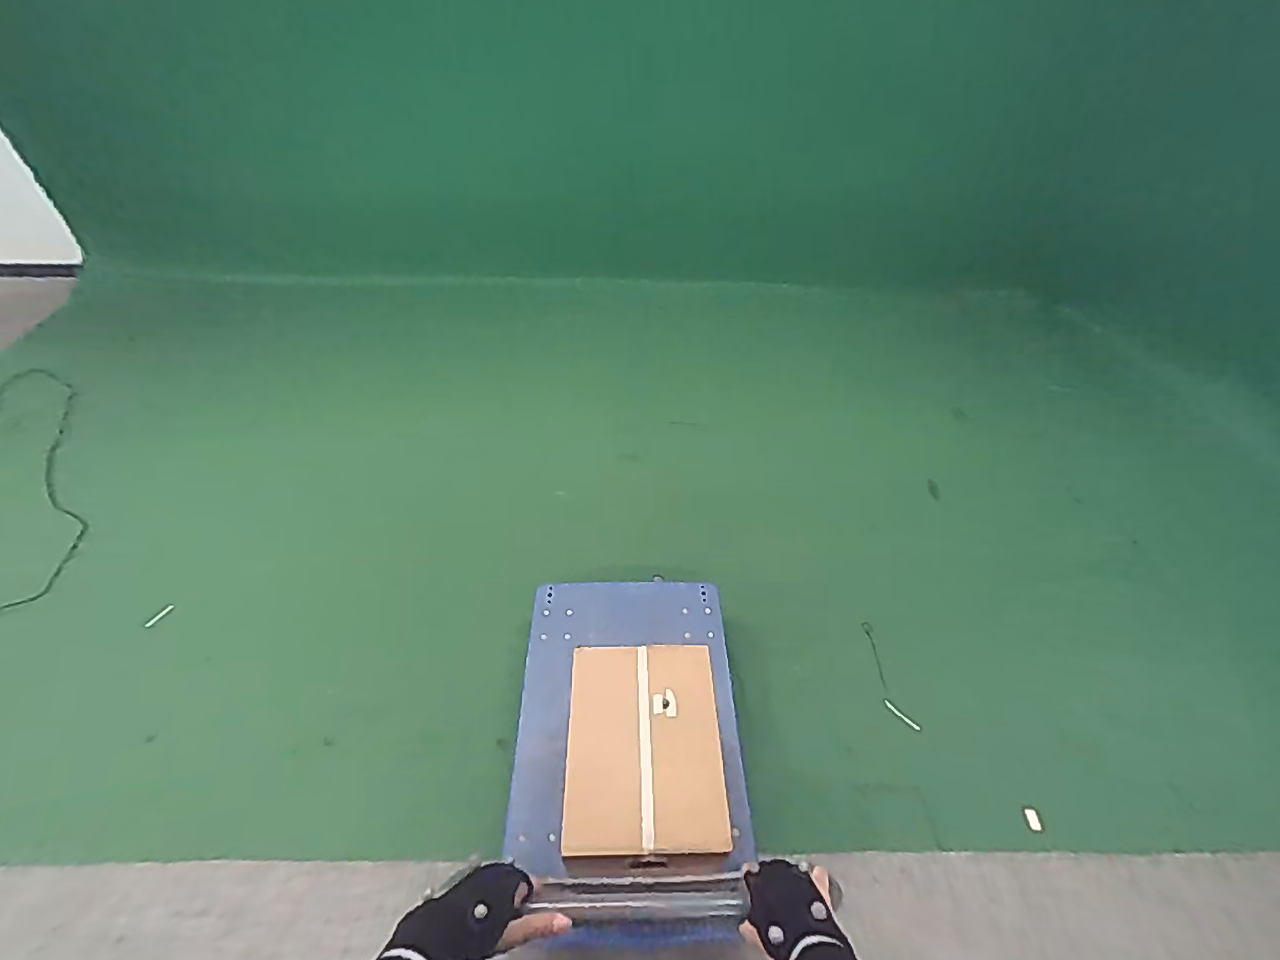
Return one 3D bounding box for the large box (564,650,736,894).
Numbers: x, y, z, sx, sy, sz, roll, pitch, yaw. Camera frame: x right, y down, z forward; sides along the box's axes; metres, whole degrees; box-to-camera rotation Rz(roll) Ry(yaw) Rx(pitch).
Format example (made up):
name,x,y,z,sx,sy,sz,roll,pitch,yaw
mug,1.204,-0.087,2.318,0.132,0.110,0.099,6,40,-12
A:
name,x,y,z,sx,sy,sz,roll,pitch,yaw
large box,0.010,0.637,1.194,0.320,0.320,0.408,0,44,-2
